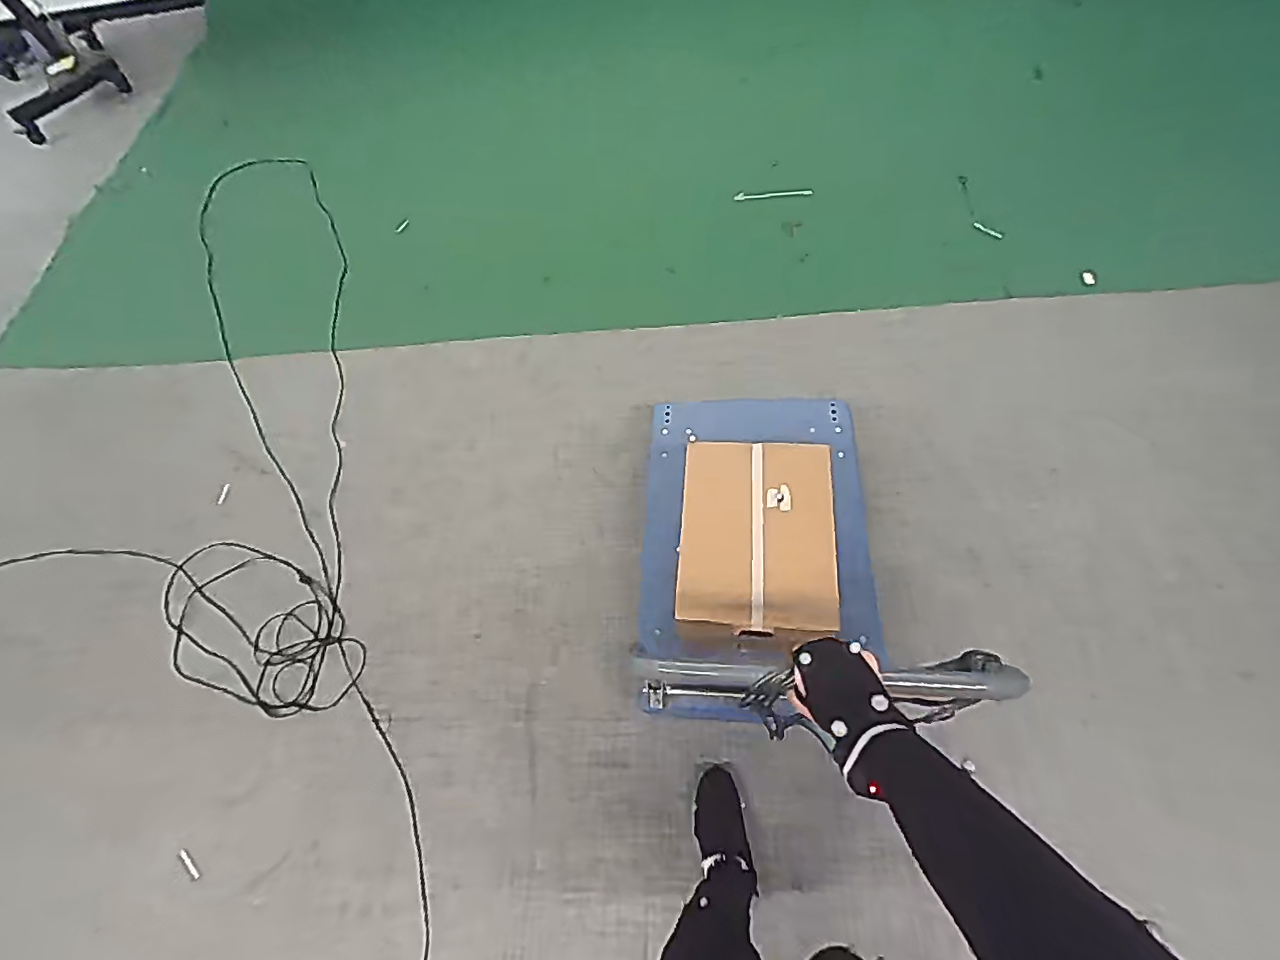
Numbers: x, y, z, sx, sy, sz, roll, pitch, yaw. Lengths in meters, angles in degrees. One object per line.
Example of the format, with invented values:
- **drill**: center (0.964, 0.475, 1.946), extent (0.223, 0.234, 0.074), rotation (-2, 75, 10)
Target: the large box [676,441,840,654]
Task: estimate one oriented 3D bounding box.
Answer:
- **large box**: center (0.257, 0.162, 1.241), extent (0.320, 0.320, 0.408), rotation (3, 63, 8)
